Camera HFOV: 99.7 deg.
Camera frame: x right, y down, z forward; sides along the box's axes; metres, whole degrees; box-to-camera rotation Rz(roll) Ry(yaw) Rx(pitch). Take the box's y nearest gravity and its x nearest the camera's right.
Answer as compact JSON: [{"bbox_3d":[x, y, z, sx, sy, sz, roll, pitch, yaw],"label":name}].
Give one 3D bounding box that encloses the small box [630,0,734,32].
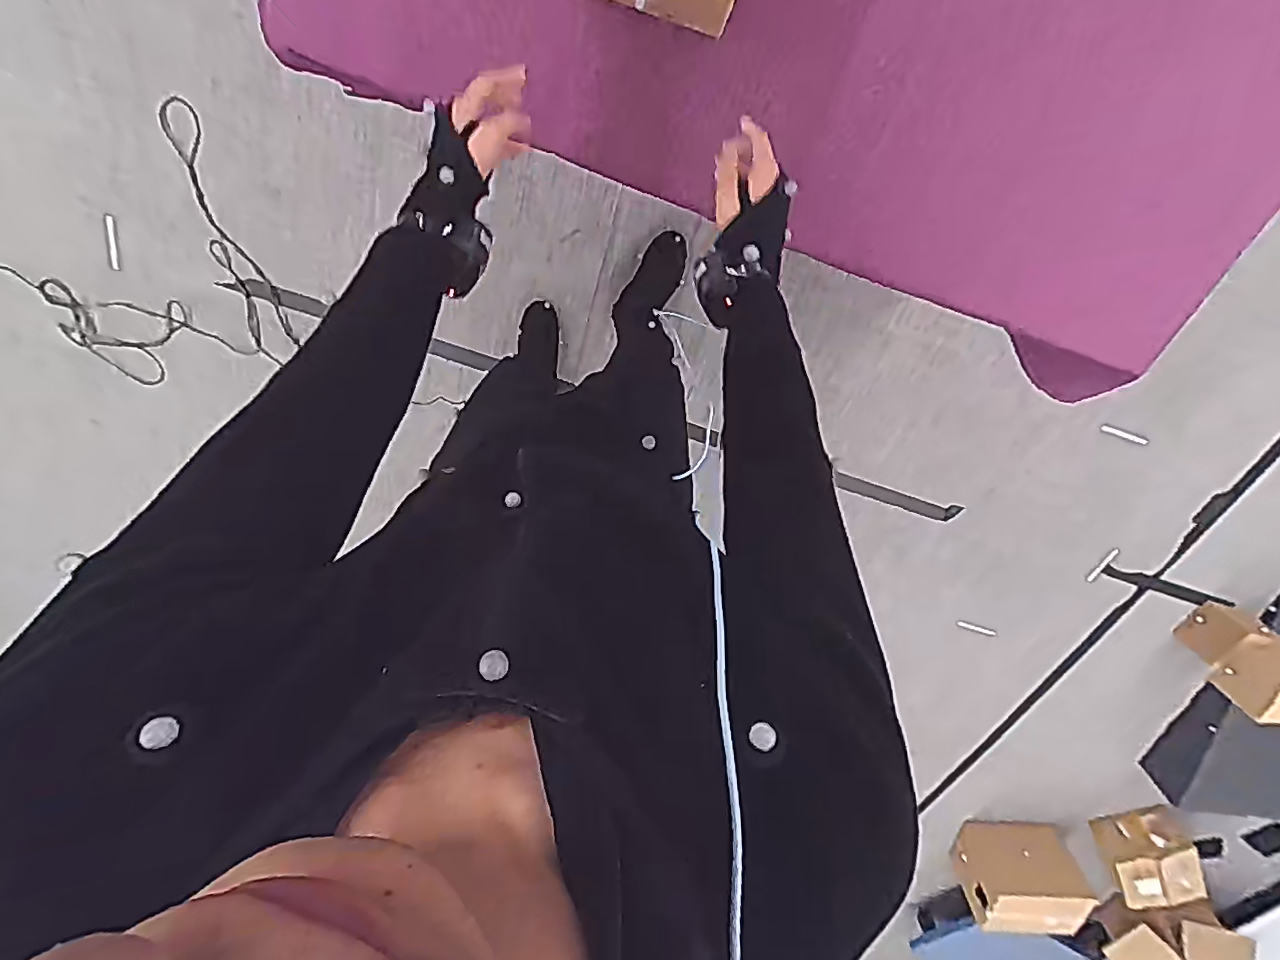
[{"bbox_3d":[0.034,-0.548,0.488,0.168,0.176,0.179,15,119,-7],"label":"small box"}]
